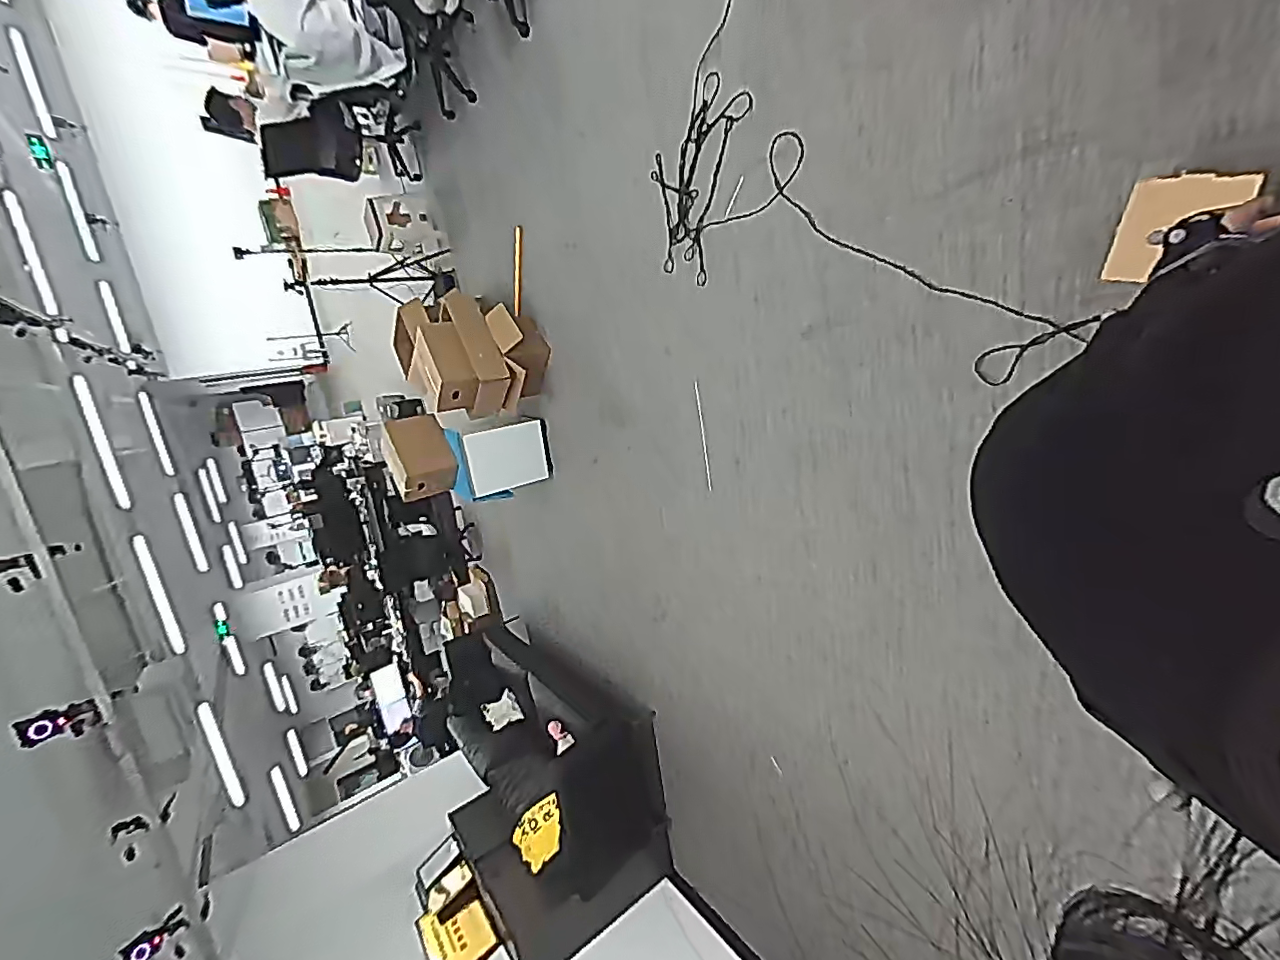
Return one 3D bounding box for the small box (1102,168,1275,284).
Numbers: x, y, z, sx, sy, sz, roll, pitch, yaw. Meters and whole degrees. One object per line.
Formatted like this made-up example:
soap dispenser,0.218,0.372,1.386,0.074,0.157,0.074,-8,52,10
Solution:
small box,1.005,-0.464,0.992,0.168,0.176,0.179,32,130,46
